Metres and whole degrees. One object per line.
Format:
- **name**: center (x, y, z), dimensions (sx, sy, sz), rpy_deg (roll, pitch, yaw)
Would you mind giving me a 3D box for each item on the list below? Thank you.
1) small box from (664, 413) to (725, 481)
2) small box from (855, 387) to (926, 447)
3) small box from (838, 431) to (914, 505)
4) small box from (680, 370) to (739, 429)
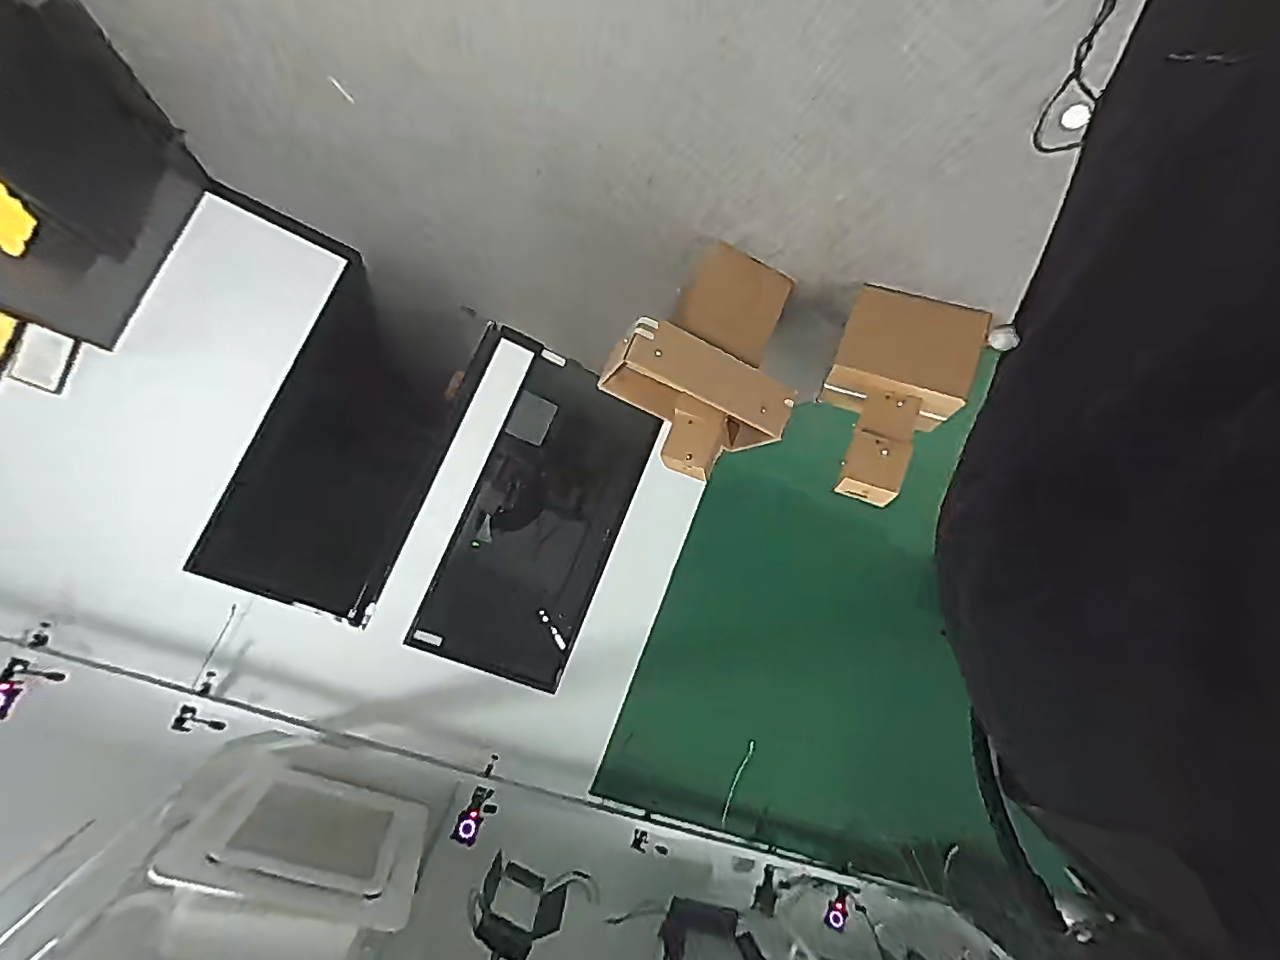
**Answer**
- **small box**: center (0.200, -0.118, 1.926), dimensions (0.168, 0.176, 0.179), rpy_deg (20, 170, 15)
- **small box**: center (0.824, -0.185, 1.786), dimensions (0.168, 0.176, 0.179), rpy_deg (18, 169, 18)
- **small box**: center (0.762, -0.038, 1.746), dimensions (0.168, 0.176, 0.179), rpy_deg (19, 169, 13)
- **small box**: center (0.248, -0.274, 1.948), dimensions (0.168, 0.176, 0.179), rpy_deg (21, 170, 10)
